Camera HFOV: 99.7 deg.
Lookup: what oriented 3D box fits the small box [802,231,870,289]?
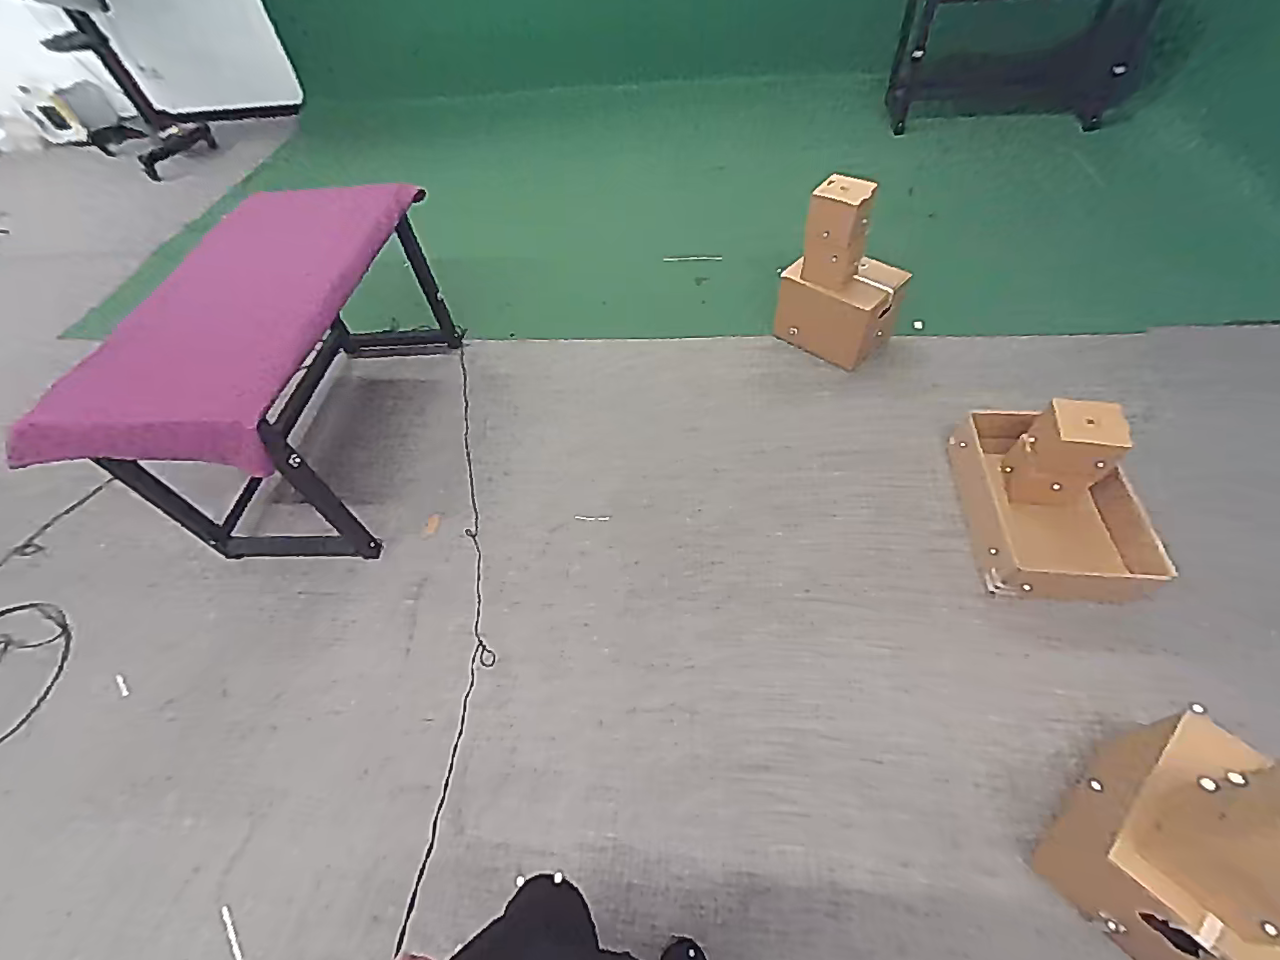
[{"bbox_3d":[0.757,-0.871,2.100,0.179,0.176,0.168,31,62,25],"label":"small box"}]

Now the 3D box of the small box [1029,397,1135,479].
[{"bbox_3d":[1.299,-0.121,1.601,0.179,0.176,0.168,8,57,13],"label":"small box"}]

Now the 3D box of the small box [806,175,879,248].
[{"bbox_3d":[0.735,-0.974,1.974,0.179,0.176,0.168,32,63,25],"label":"small box"}]

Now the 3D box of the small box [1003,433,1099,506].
[{"bbox_3d":[1.310,-0.030,1.736,0.179,0.176,0.168,5,57,11],"label":"small box"}]

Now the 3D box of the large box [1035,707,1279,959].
[{"bbox_3d":[1.134,0.772,1.125,0.408,0.320,0.320,-37,59,-22],"label":"large box"}]
